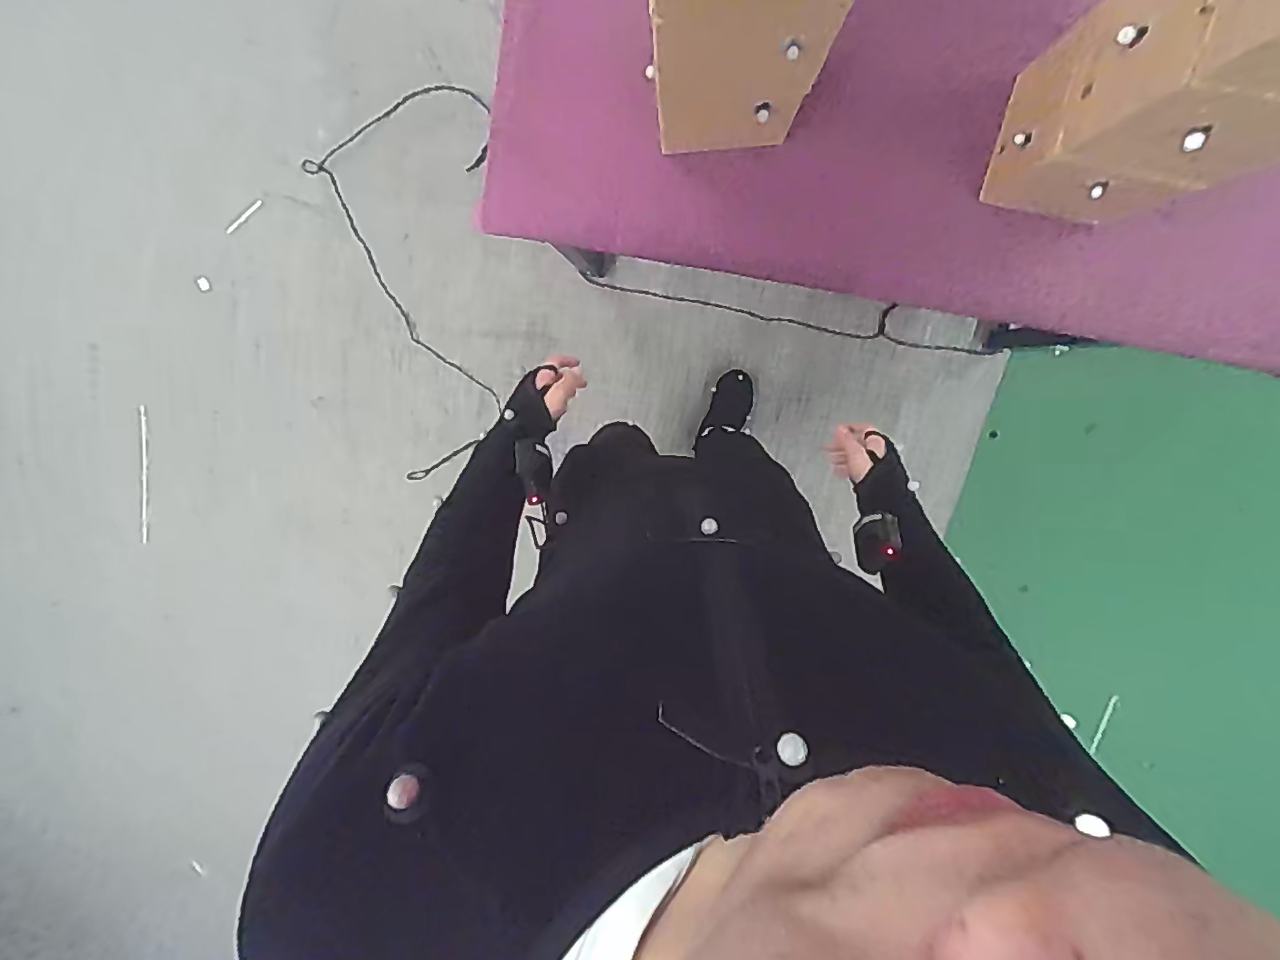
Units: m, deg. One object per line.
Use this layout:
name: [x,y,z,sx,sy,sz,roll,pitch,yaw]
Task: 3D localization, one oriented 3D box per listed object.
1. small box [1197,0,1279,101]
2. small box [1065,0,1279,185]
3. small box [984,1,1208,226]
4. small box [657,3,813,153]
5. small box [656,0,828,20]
small box: [0.553,-0.370,0.352,0.179,0.176,0.168,11,103,3]
small box: [0.564,-0.403,0.513,0.179,0.176,0.168,12,104,3]
small box: [0.575,-0.435,0.673,0.179,0.176,0.168,14,103,1]
small box: [0.111,-0.538,0.684,0.179,0.176,0.168,-2,102,5]
small box: [0.091,-0.461,0.367,0.179,0.176,0.168,-3,103,5]
